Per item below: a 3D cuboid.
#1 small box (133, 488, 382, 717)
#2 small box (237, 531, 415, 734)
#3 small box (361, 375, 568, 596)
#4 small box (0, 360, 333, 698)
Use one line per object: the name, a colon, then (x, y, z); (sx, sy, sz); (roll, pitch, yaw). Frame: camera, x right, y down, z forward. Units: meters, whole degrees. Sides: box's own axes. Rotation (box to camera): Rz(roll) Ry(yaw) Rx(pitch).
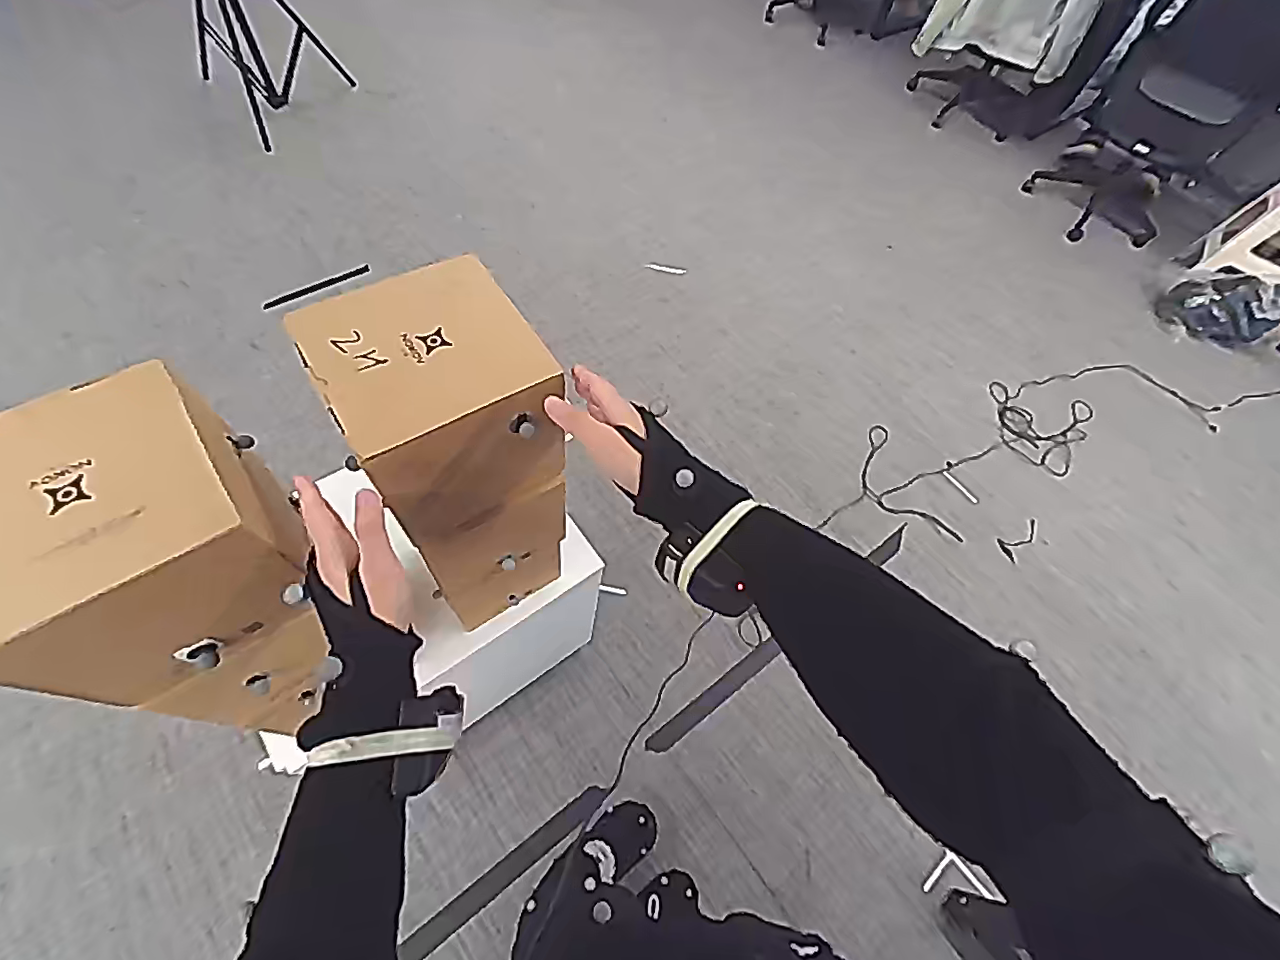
small box: (-0.404, 0.127, 0.568); (0.168, 0.176, 0.179); (-32, 69, -22)
small box: (-0.425, 0.205, 0.710); (0.168, 0.176, 0.179); (-31, 68, -22)
small box: (-0.202, 0.012, 0.656); (0.168, 0.176, 0.179); (-30, 70, -21)
small box: (-0.385, 0.046, 0.428); (0.168, 0.176, 0.179); (-33, 71, -21)
